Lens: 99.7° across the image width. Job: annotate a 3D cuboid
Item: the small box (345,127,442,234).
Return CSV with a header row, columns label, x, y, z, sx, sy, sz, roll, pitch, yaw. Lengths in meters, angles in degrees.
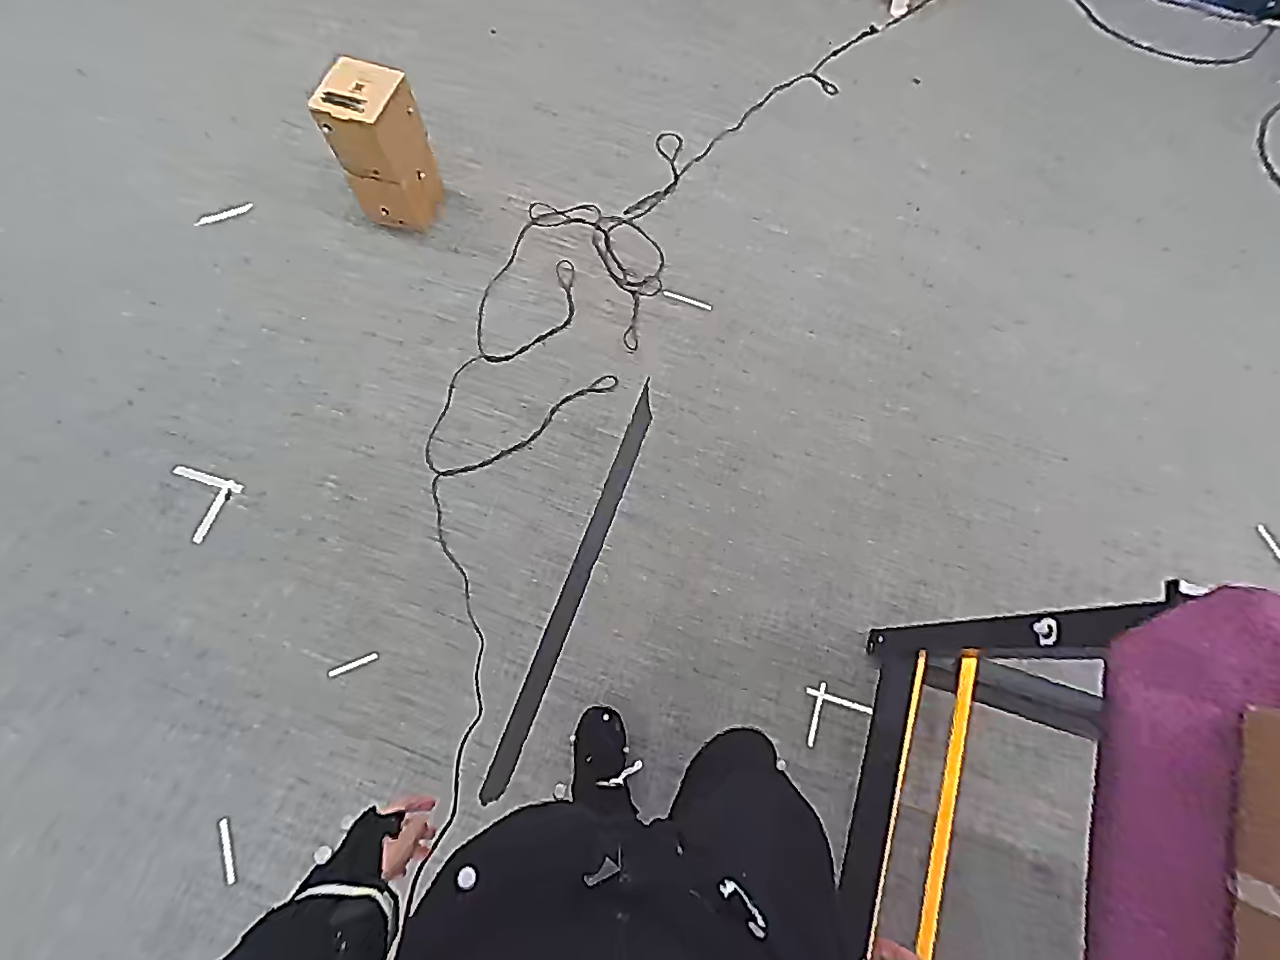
label,x,y,z,sx,sy,sz,roll,pitch,yaw
small box,-0.662,-0.816,1.482,0.168,0.176,0.179,13,73,2
